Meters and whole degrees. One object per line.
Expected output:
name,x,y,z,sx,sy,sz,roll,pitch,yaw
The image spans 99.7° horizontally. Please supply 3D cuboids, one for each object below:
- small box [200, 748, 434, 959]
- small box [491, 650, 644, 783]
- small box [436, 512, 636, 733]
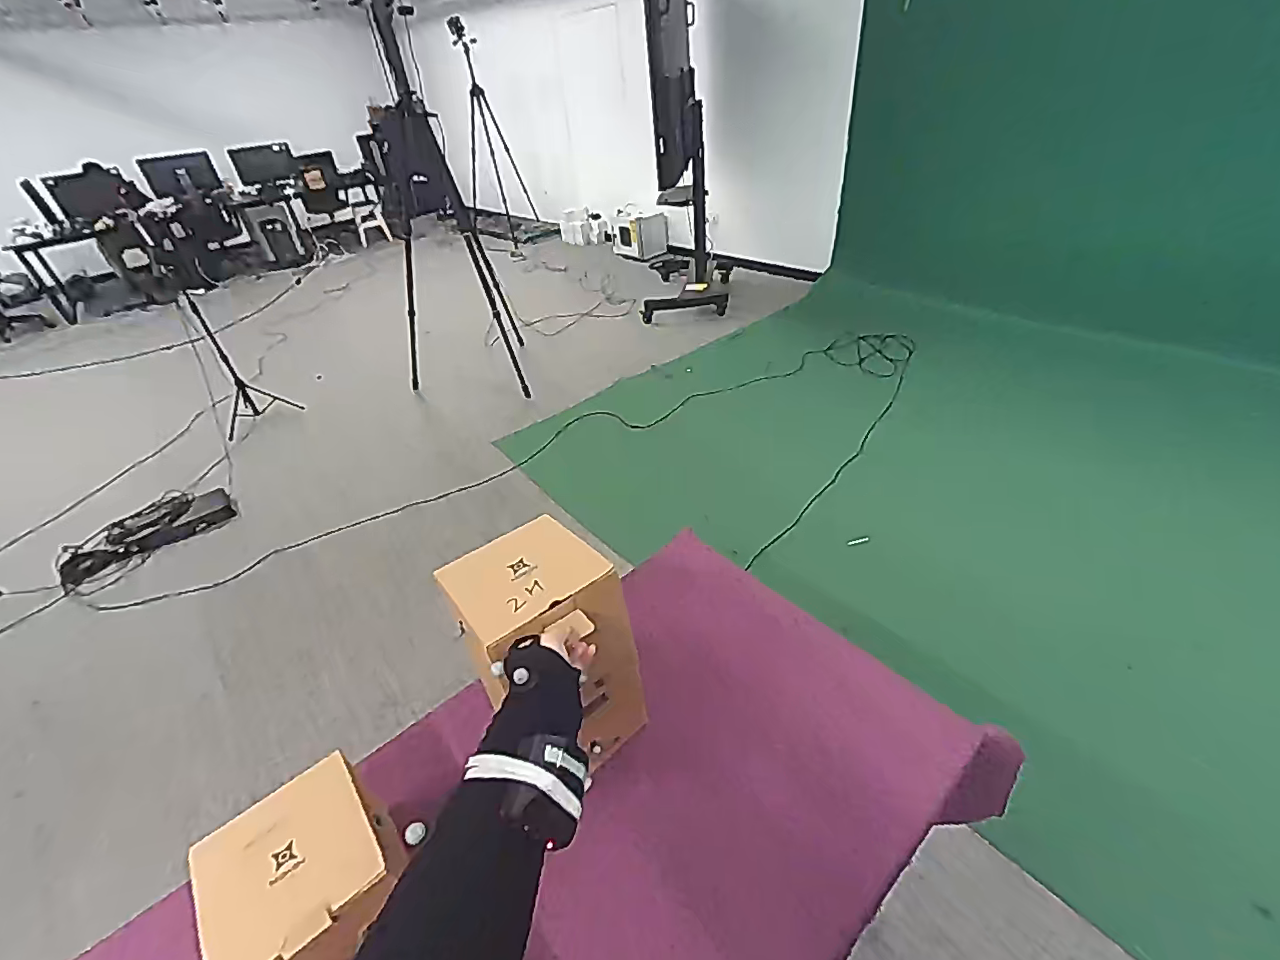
small box,-0.370,0.470,0.636,0.168,0.176,0.179,-30,43,-28
small box,-0.113,0.304,0.807,0.168,0.176,0.179,-33,45,-29
small box,-0.127,0.173,0.681,0.168,0.176,0.179,-29,35,-27
